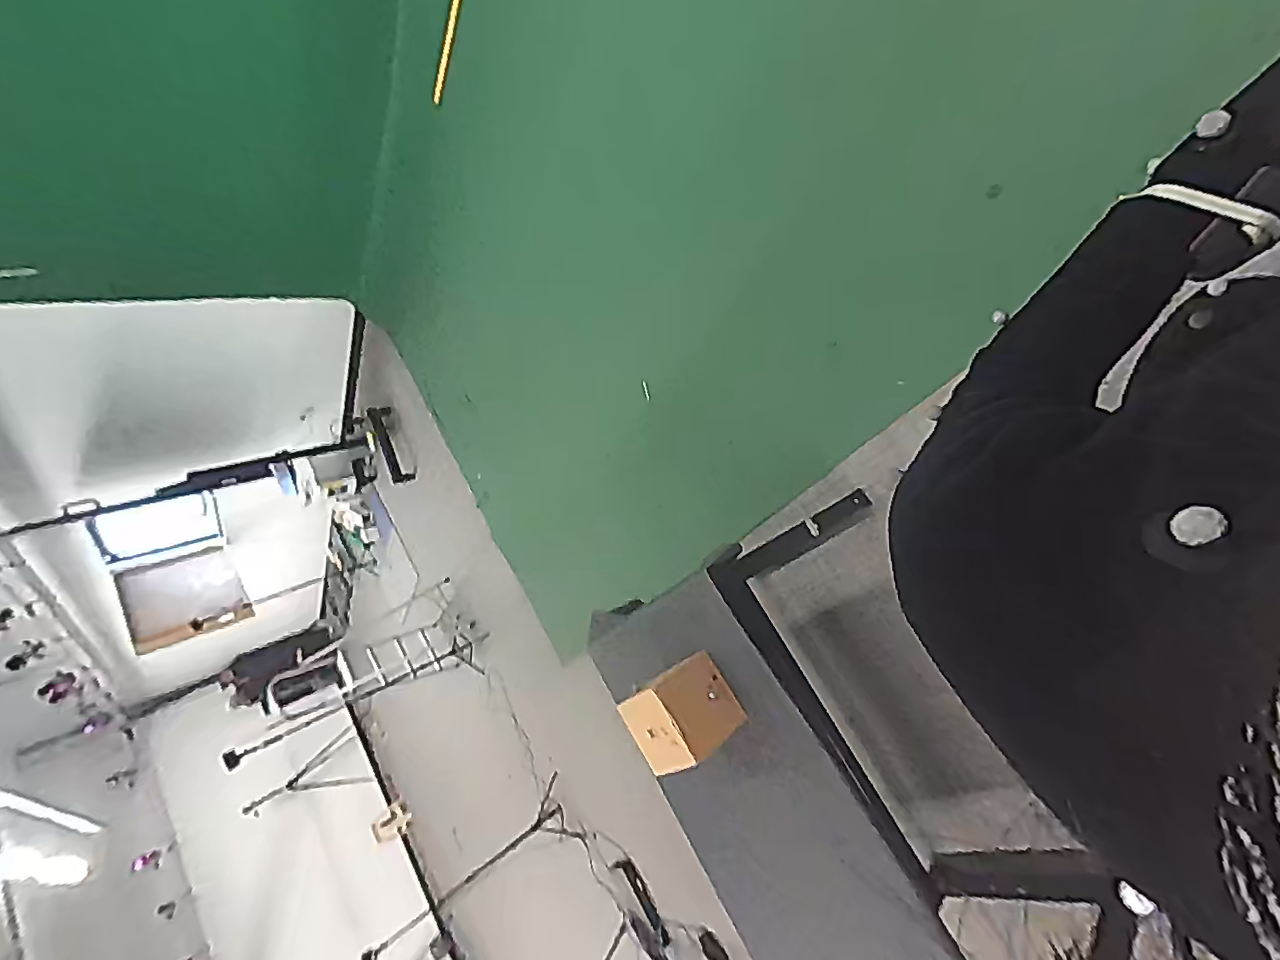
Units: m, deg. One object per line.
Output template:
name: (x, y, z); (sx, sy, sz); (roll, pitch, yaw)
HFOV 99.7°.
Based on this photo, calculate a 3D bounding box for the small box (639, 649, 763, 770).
small box: (0.134, 0.499, 1.184); (0.168, 0.176, 0.179); (57, 139, 16)
